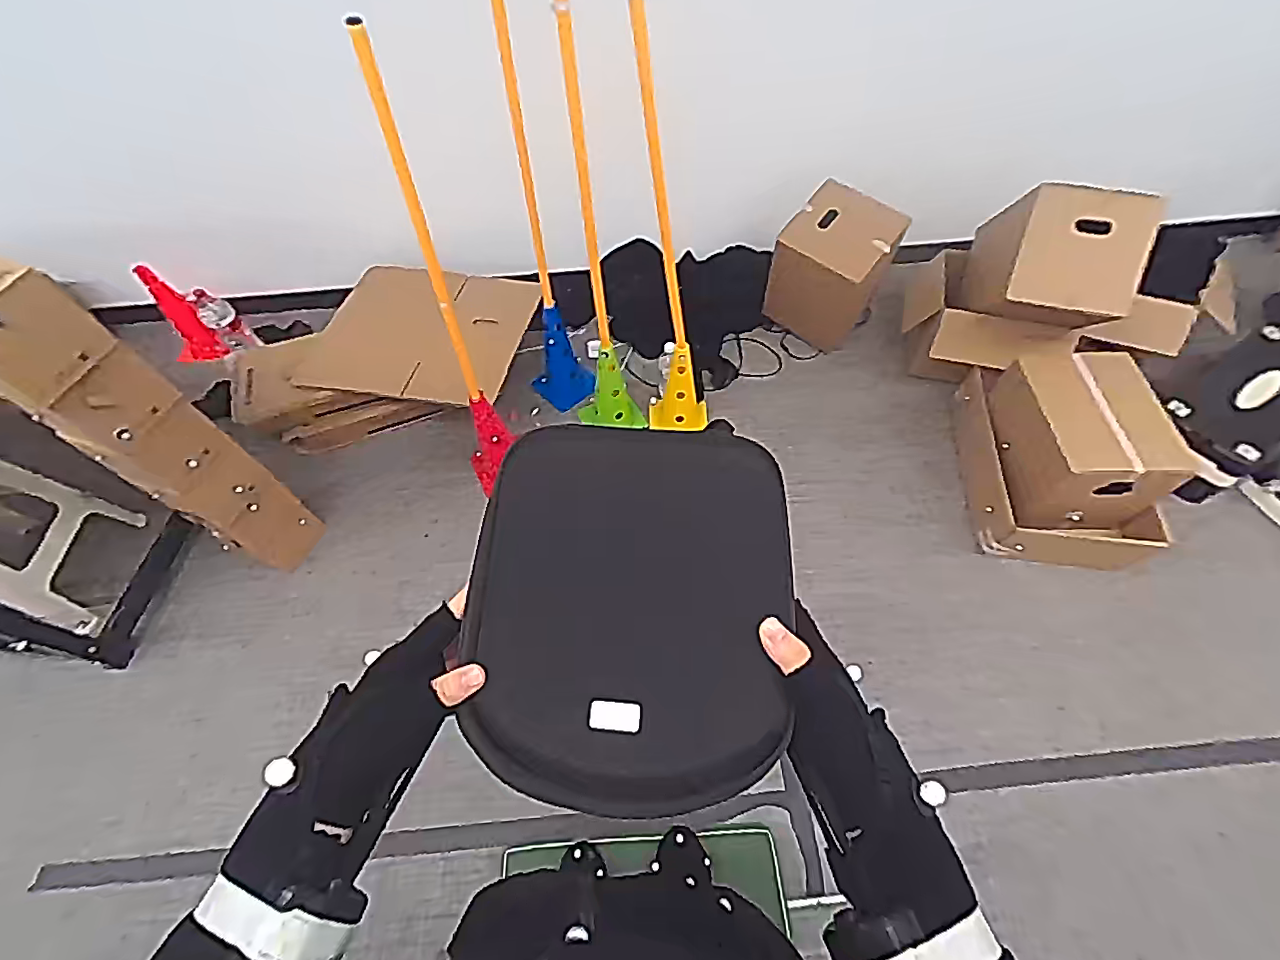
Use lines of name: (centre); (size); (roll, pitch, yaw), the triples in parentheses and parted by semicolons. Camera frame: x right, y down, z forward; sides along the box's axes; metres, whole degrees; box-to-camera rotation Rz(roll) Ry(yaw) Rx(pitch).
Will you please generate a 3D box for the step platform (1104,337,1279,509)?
step platform: (1.862, -0.197, 1.736); (0.684, 0.204, 0.286); (-30, 62, -16)
